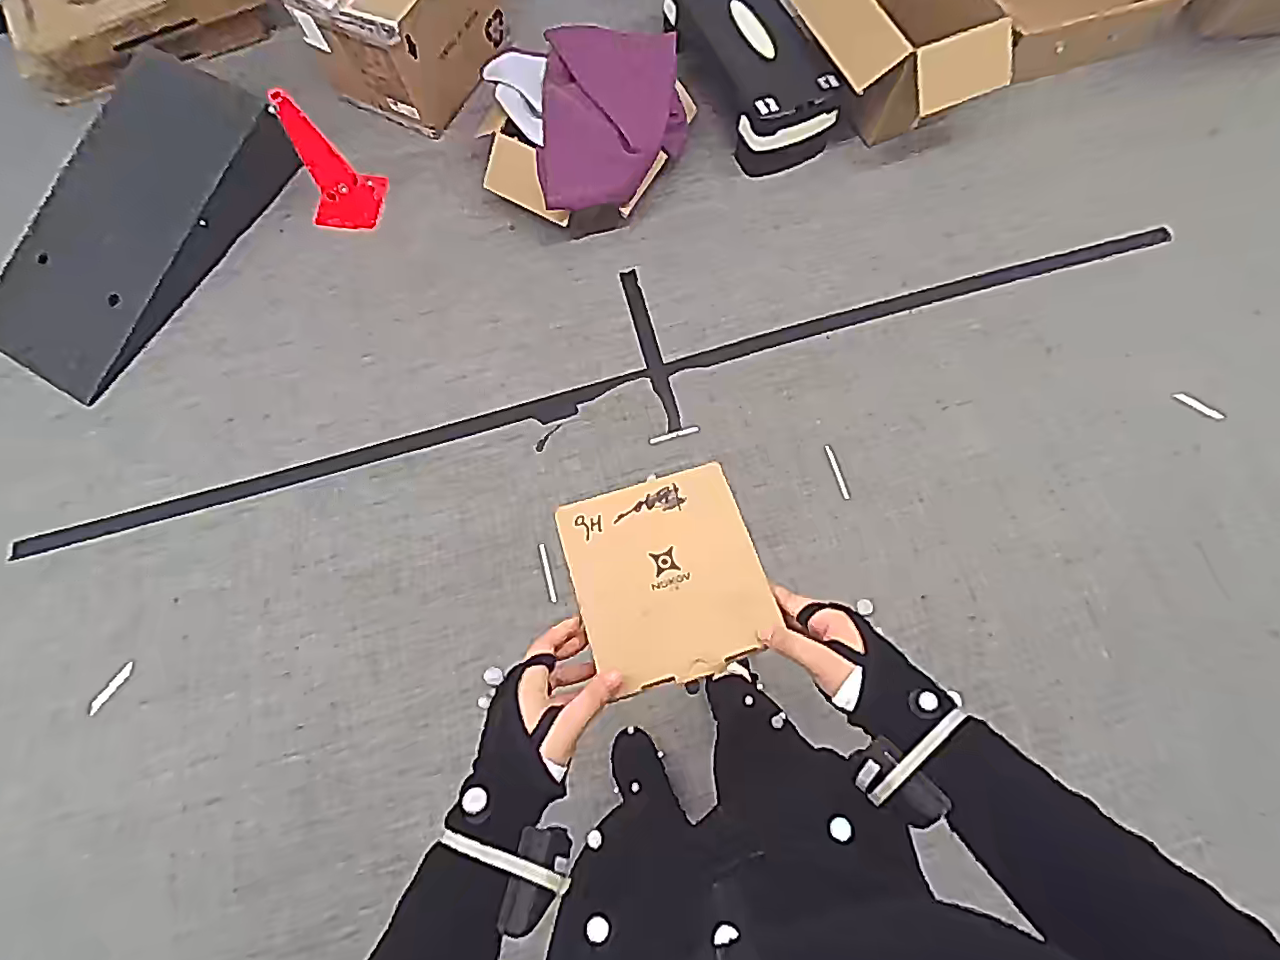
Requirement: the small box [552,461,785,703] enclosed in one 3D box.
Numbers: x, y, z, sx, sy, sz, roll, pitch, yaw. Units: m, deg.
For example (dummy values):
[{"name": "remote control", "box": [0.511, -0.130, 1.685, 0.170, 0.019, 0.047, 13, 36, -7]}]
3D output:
[{"name": "small box", "box": [0.021, 0.108, 0.547, 0.168, 0.176, 0.179, -16, 70, -7]}]
